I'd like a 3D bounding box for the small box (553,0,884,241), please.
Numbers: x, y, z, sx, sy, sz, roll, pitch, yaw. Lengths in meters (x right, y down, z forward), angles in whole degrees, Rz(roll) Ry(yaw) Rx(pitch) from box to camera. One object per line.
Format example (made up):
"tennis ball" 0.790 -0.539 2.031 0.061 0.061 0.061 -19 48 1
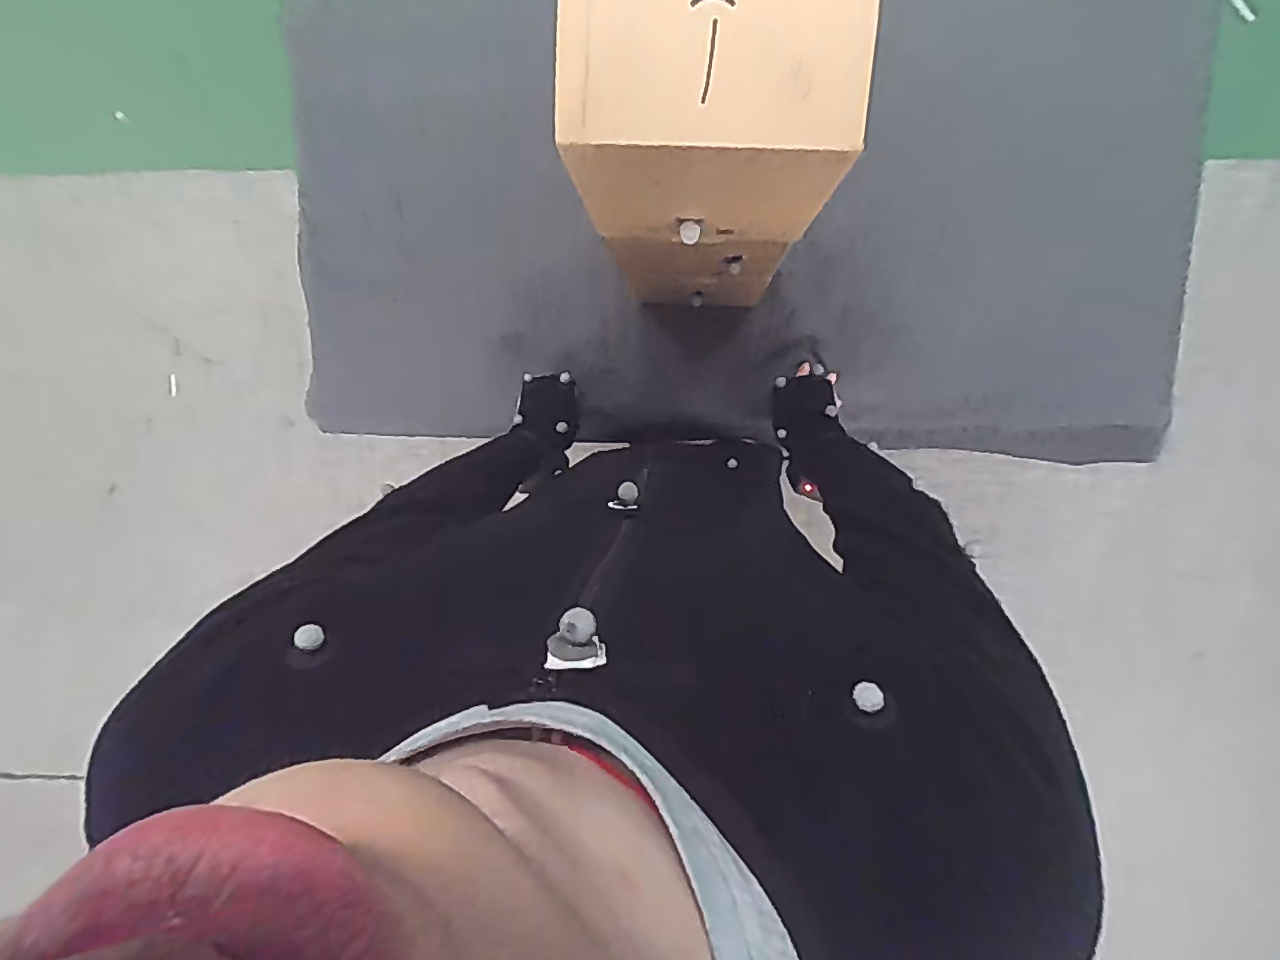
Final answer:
"small box" 0.047 -0.272 0.347 0.168 0.176 0.179 5 100 5

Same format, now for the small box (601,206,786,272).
"small box" 0.060 -0.302 0.508 0.168 0.176 0.179 3 98 5

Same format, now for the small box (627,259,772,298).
"small box" 0.080 -0.327 0.667 0.168 0.176 0.179 4 100 5
